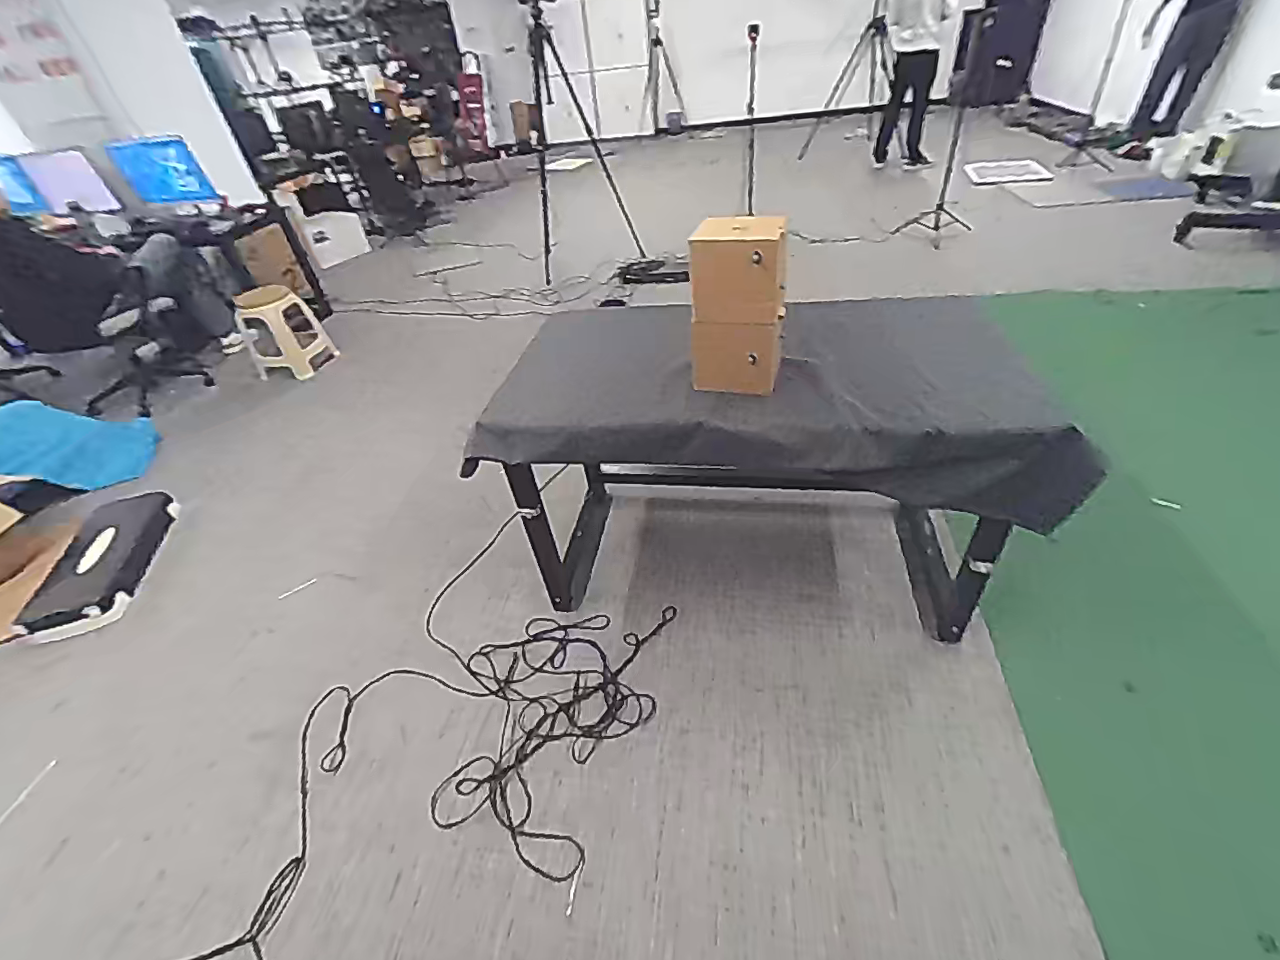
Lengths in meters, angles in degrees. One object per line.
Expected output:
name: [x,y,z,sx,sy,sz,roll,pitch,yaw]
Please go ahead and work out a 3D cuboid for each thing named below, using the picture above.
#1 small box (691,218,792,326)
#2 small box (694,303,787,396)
small box: [0.213,-0.431,1.123,0.179,0.176,0.168,8,41,18]
small box: [0.229,-0.303,1.221,0.179,0.176,0.168,7,40,19]
